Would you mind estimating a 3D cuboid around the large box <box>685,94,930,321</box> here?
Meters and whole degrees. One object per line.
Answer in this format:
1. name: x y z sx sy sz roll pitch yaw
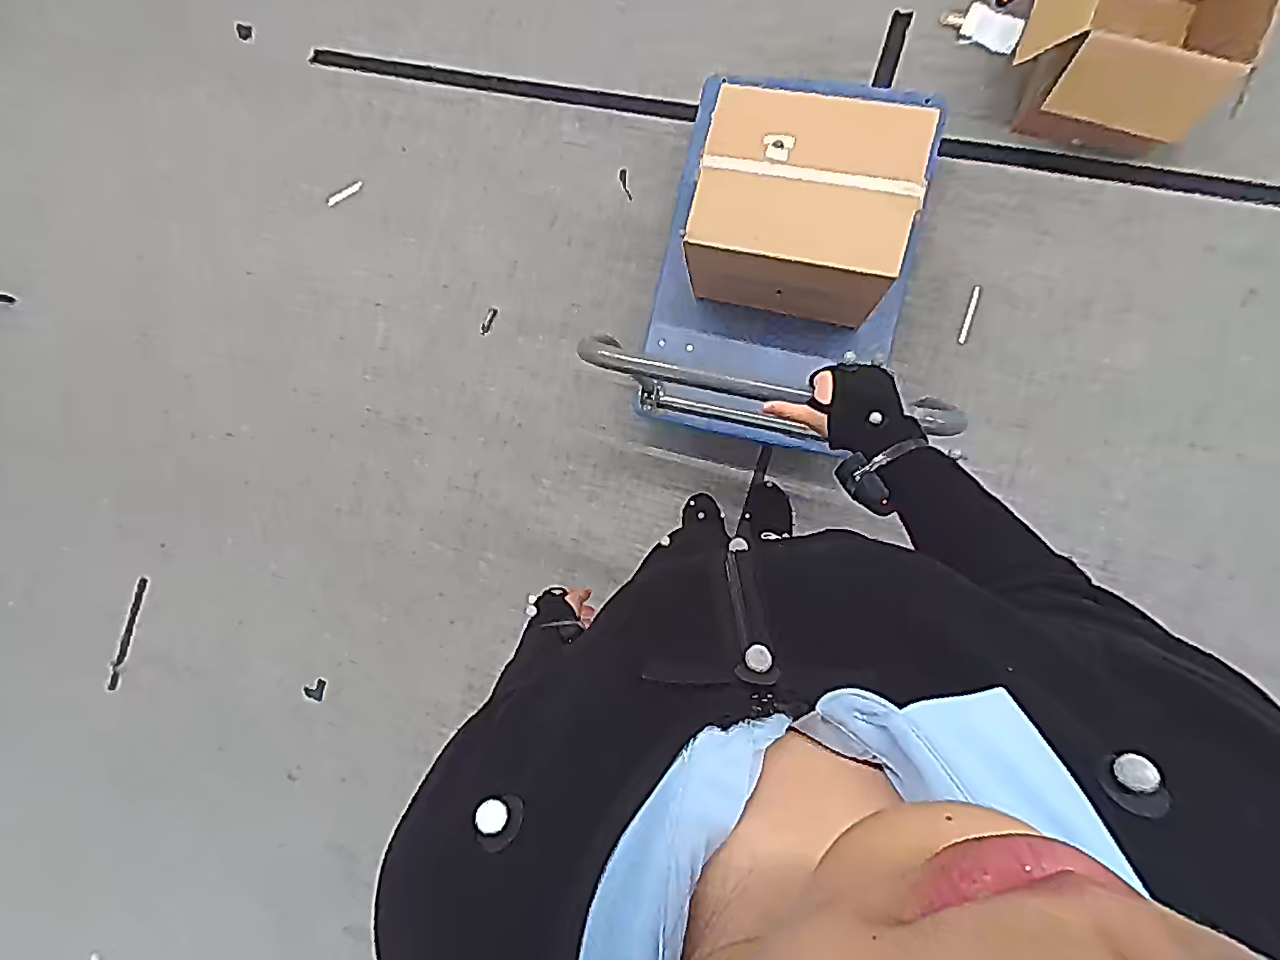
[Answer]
1. large box: 0.340 -0.564 1.171 0.408 0.320 0.320 13 90 11
